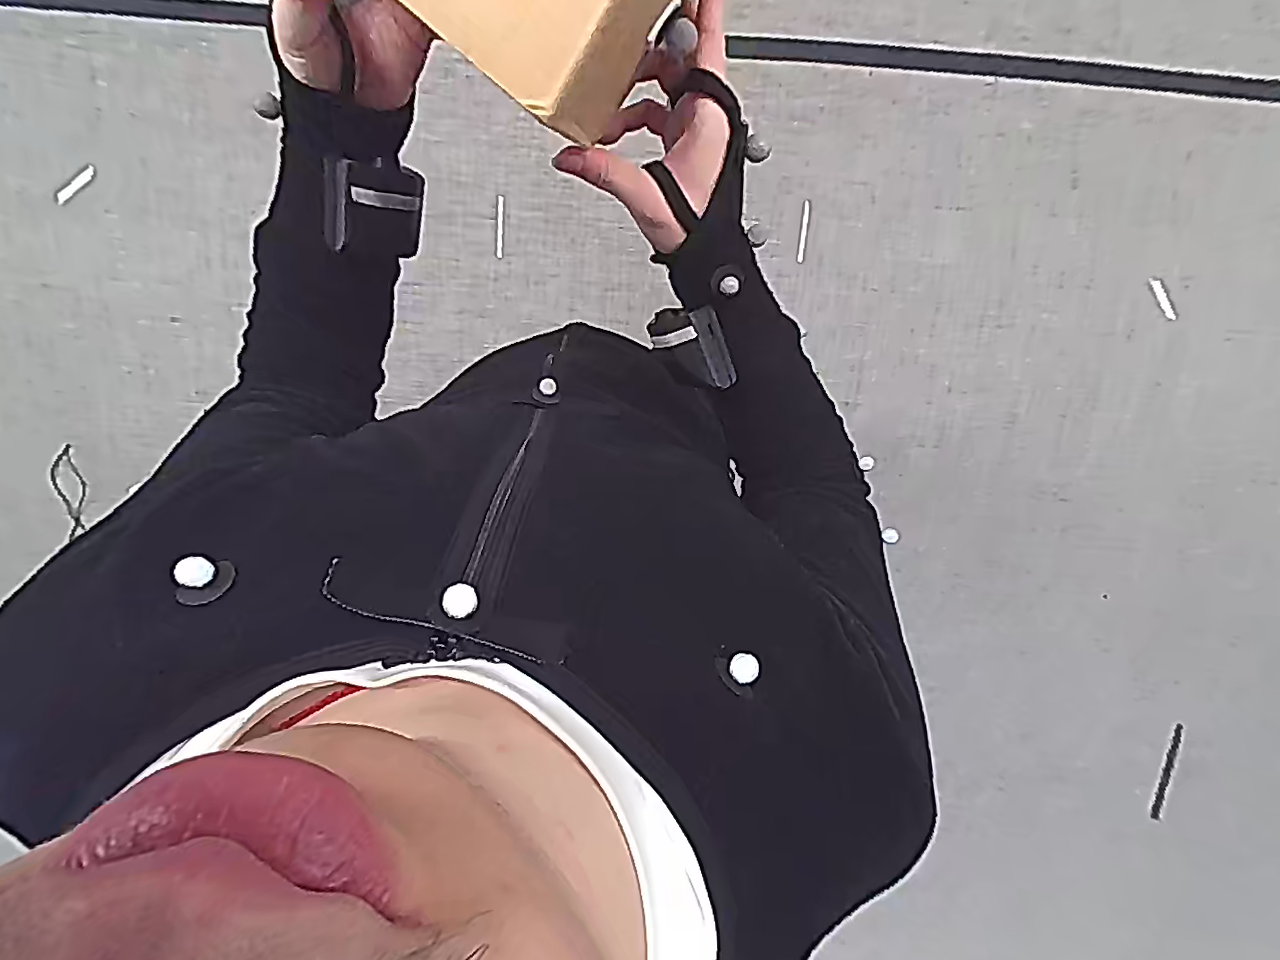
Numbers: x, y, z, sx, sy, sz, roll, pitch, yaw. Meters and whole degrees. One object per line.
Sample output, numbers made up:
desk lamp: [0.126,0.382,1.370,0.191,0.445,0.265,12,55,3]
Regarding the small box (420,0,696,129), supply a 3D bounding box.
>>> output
small box: [-0.045,-0.272,0.214,0.179,0.176,0.168,34,115,-17]
